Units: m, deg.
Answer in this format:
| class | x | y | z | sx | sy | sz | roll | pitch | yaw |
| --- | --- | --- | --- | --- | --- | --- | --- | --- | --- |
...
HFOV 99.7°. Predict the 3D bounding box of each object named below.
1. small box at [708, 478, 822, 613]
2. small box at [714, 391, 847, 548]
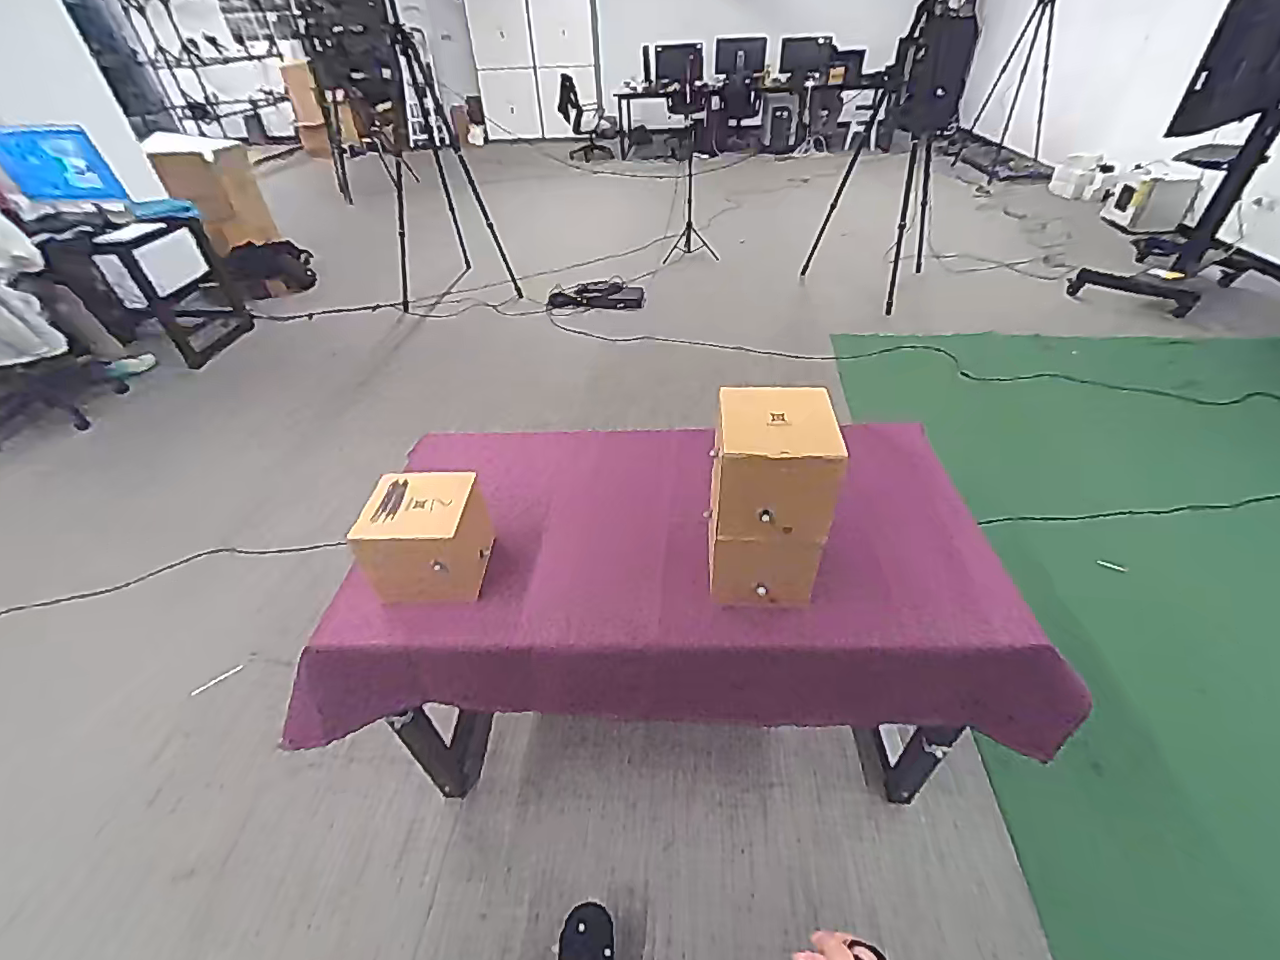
| class | x | y | z | sx | sy | sz | roll | pitch | yaw |
| --- | --- | --- | --- | --- | --- | --- | --- | --- | --- |
| small box | 0.204 | 0.106 | 0.935 | 0.168 | 0.176 | 0.179 | 1 | 41 | 5 |
| small box | 0.201 | -0.018 | 0.829 | 0.168 | 0.176 | 0.179 | 1 | 41 | 5 |
